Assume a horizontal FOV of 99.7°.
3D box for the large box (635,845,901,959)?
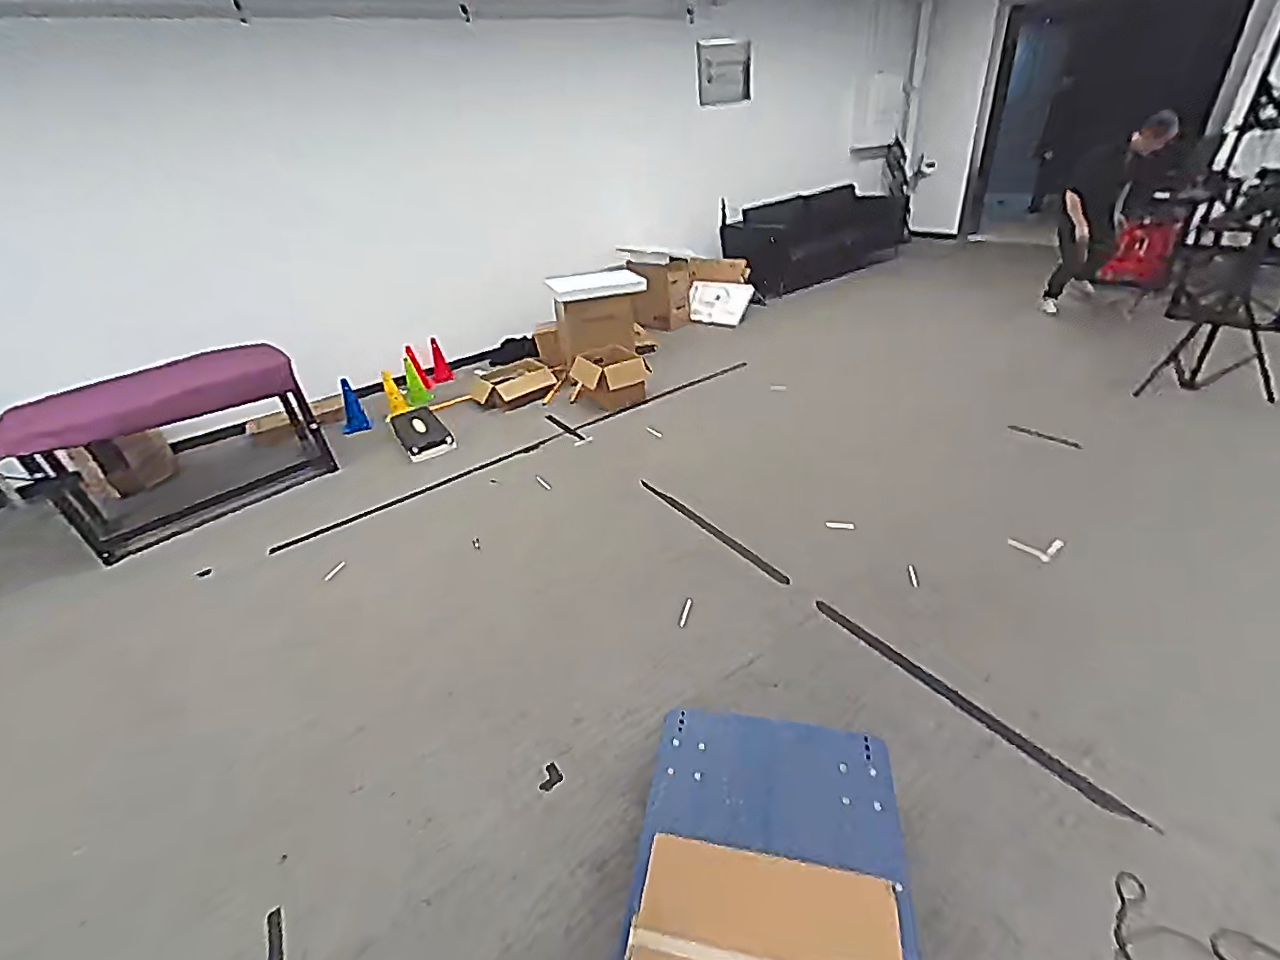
[{"bbox_3d":[0.198,0.869,0.885,0.408,0.320,0.320,3,34,13],"label":"large box"}]
